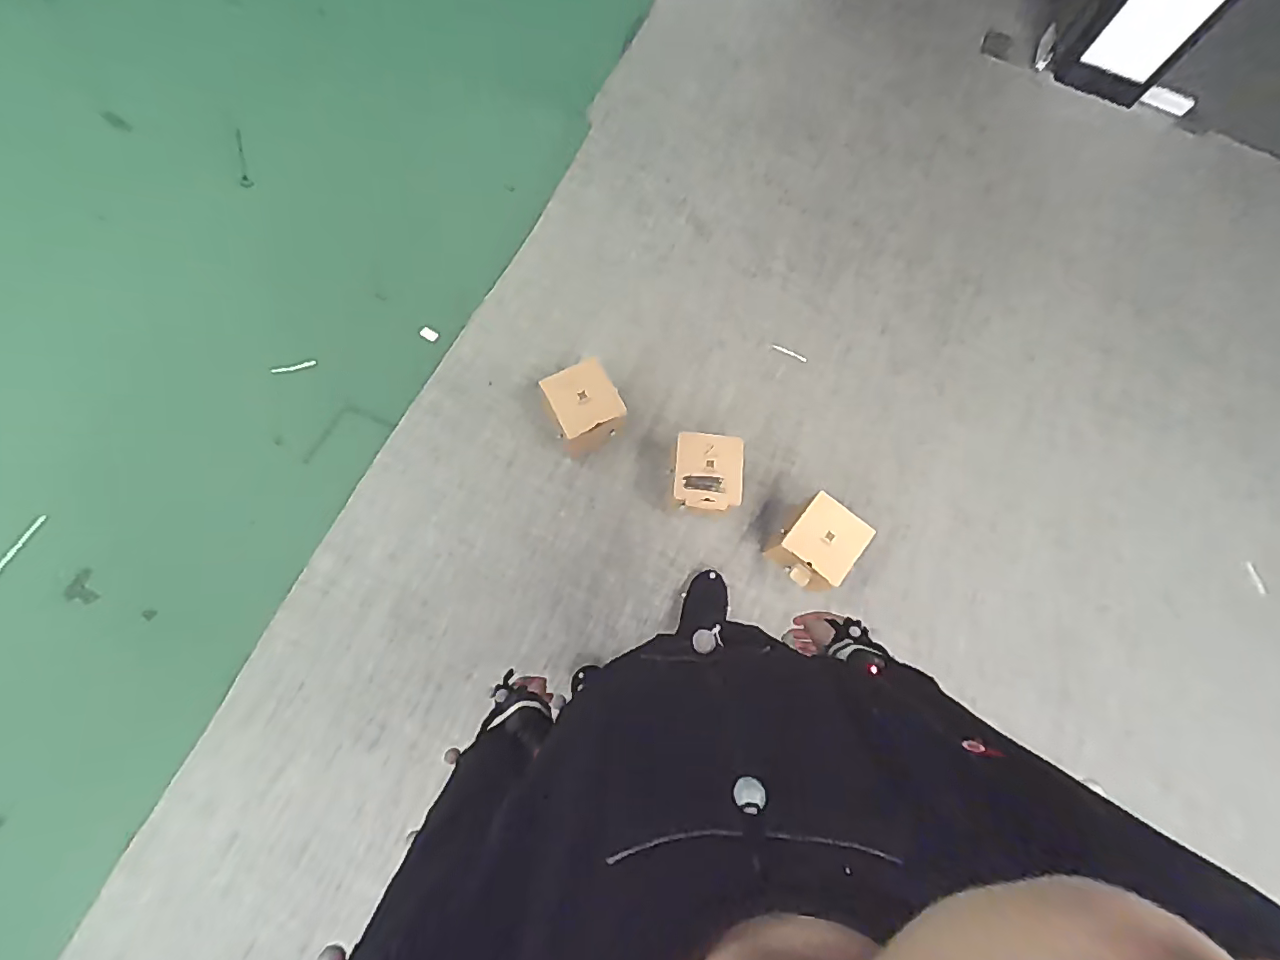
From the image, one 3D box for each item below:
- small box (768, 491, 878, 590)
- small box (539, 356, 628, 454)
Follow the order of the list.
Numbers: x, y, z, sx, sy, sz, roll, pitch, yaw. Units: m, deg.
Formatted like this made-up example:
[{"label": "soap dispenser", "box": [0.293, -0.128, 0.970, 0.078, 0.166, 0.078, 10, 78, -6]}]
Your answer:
[{"label": "small box", "box": [0.445, 0.156, 1.348, 0.168, 0.176, 0.179, 39, 77, 7]}, {"label": "small box", "box": [-0.143, -0.184, 1.406, 0.168, 0.176, 0.179, -27, 77, -11]}]
